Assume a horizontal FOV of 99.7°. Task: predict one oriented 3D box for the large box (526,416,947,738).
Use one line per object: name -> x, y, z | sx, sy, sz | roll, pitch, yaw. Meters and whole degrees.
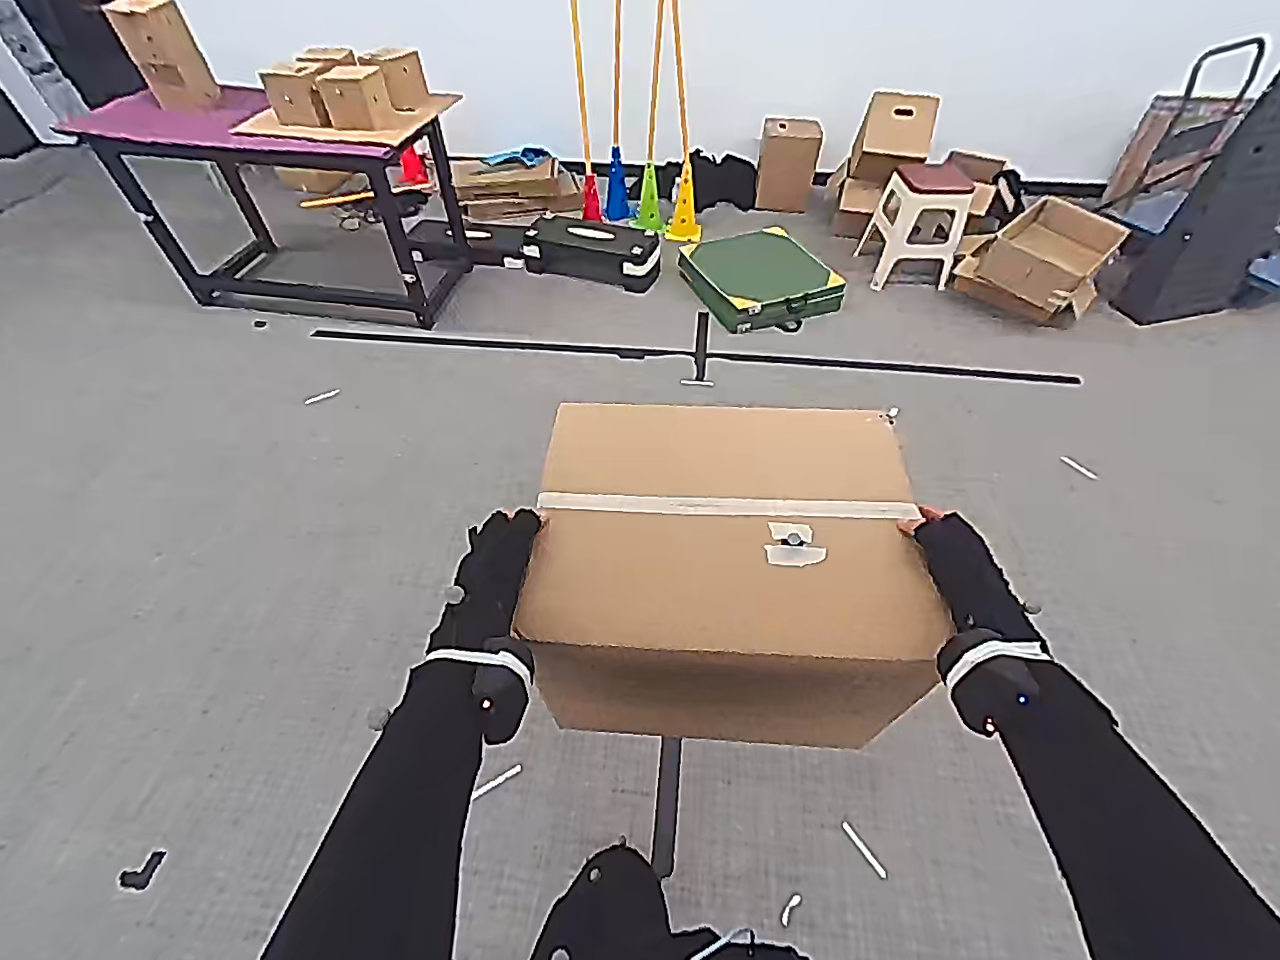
large box -> 0.096, 0.132, 0.712 | 0.408, 0.320, 0.320 | 2, 52, 3
